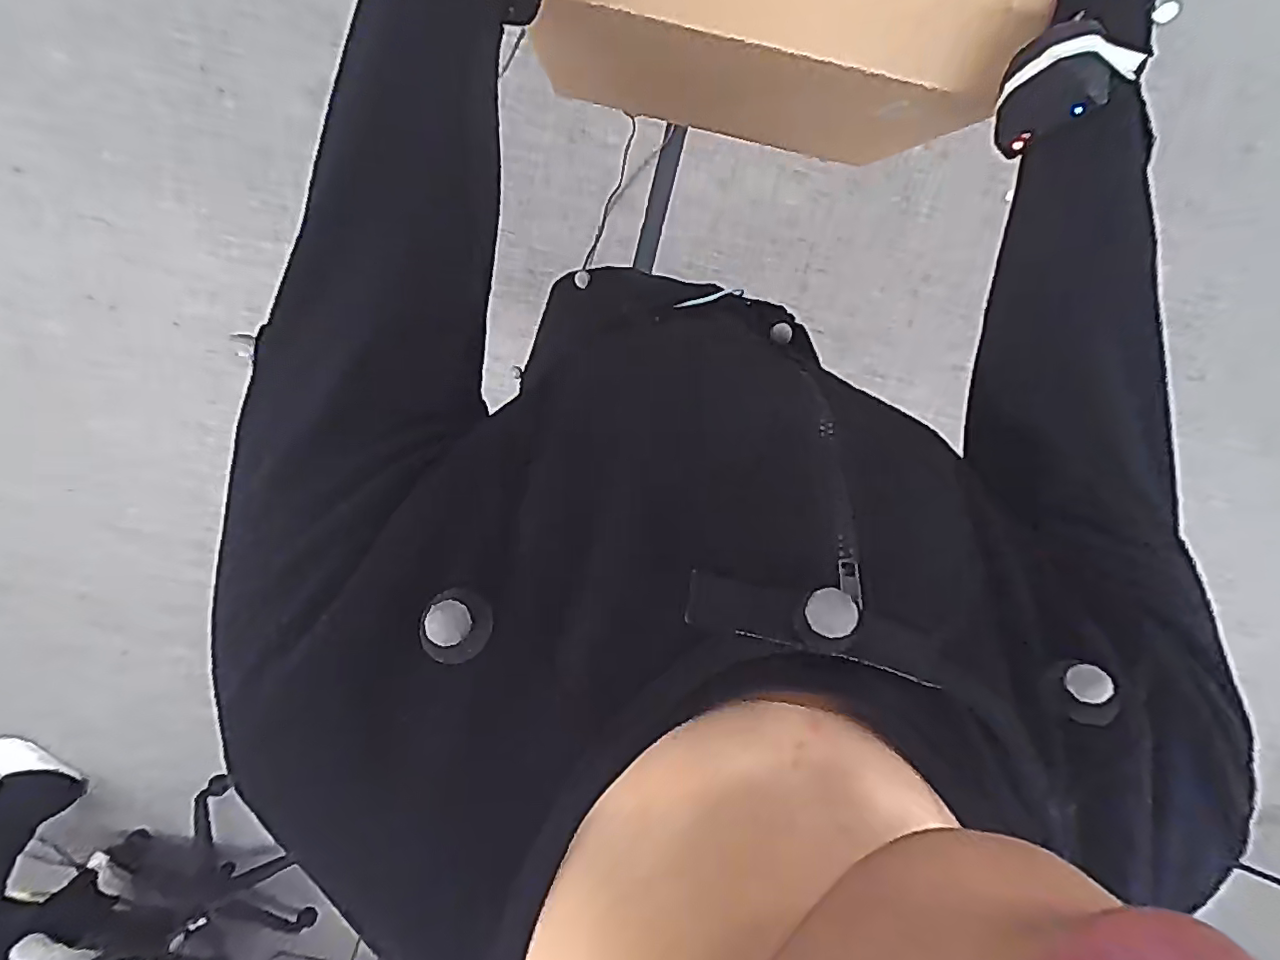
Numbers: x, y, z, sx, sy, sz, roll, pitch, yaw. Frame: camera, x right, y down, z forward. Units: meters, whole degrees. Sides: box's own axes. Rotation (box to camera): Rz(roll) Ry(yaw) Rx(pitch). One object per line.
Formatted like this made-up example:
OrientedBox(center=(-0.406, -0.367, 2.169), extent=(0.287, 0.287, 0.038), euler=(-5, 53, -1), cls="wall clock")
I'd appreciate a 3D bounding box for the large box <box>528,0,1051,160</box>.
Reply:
OrientedBox(center=(0.126, -0.527, 0.493), extent=(0.408, 0.320, 0.320), euler=(10, 113, -6), cls="large box")
